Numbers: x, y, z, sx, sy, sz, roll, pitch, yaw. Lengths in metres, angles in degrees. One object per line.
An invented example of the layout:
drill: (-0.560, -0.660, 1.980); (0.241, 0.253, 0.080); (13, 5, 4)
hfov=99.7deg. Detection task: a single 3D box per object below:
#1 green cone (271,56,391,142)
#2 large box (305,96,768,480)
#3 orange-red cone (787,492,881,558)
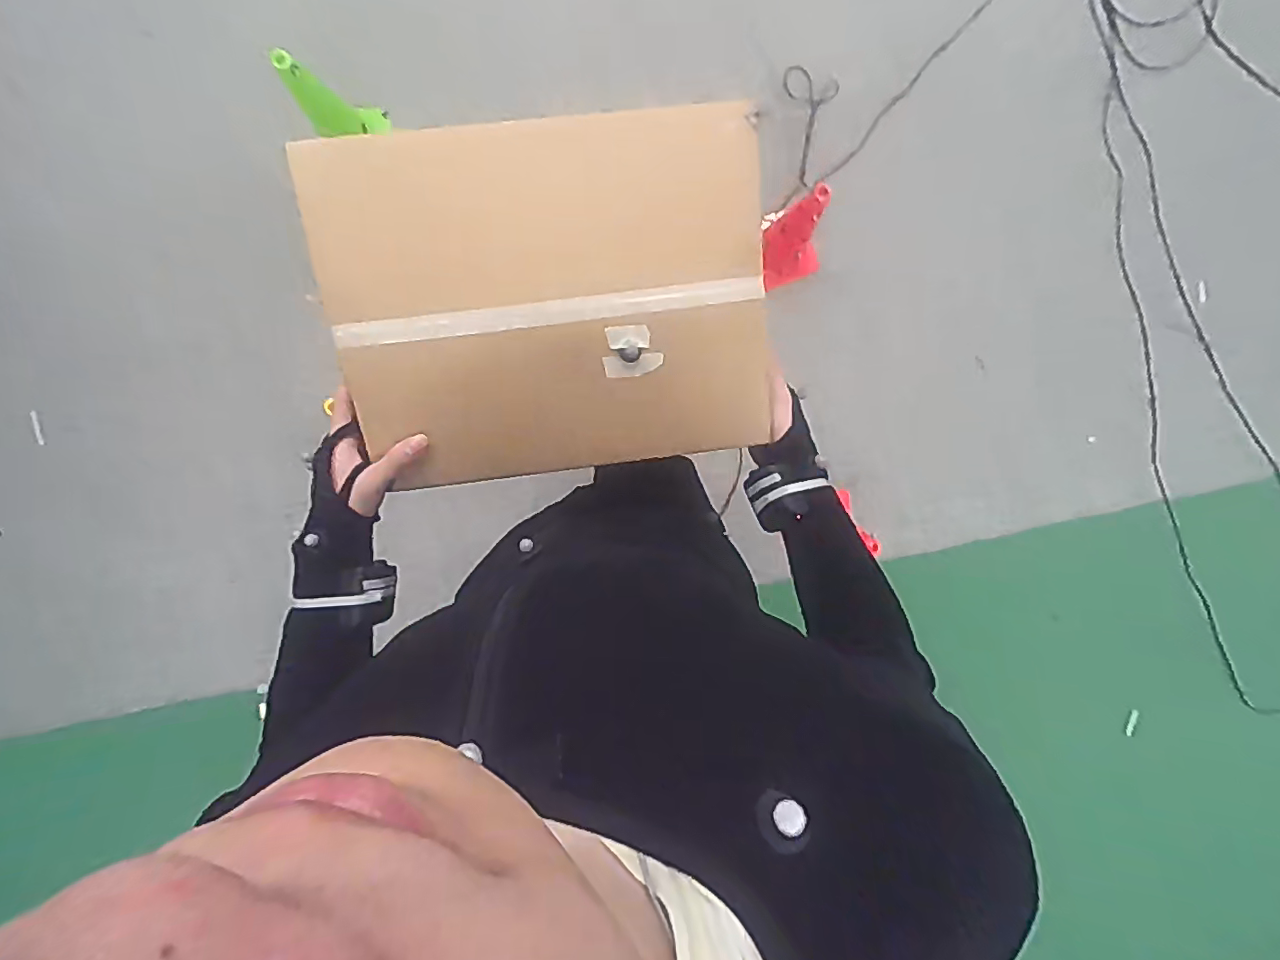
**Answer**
green cone: (-0.790, -0.921, 1.347); (0.200, 0.368, 0.202); (-5, 95, -1)
large box: (-0.094, -0.214, 0.661); (0.408, 0.320, 0.320); (-8, 108, -4)
orange-red cone: (0.552, 0.152, 1.468); (0.199, 0.360, 0.198); (-4, 95, -3)
